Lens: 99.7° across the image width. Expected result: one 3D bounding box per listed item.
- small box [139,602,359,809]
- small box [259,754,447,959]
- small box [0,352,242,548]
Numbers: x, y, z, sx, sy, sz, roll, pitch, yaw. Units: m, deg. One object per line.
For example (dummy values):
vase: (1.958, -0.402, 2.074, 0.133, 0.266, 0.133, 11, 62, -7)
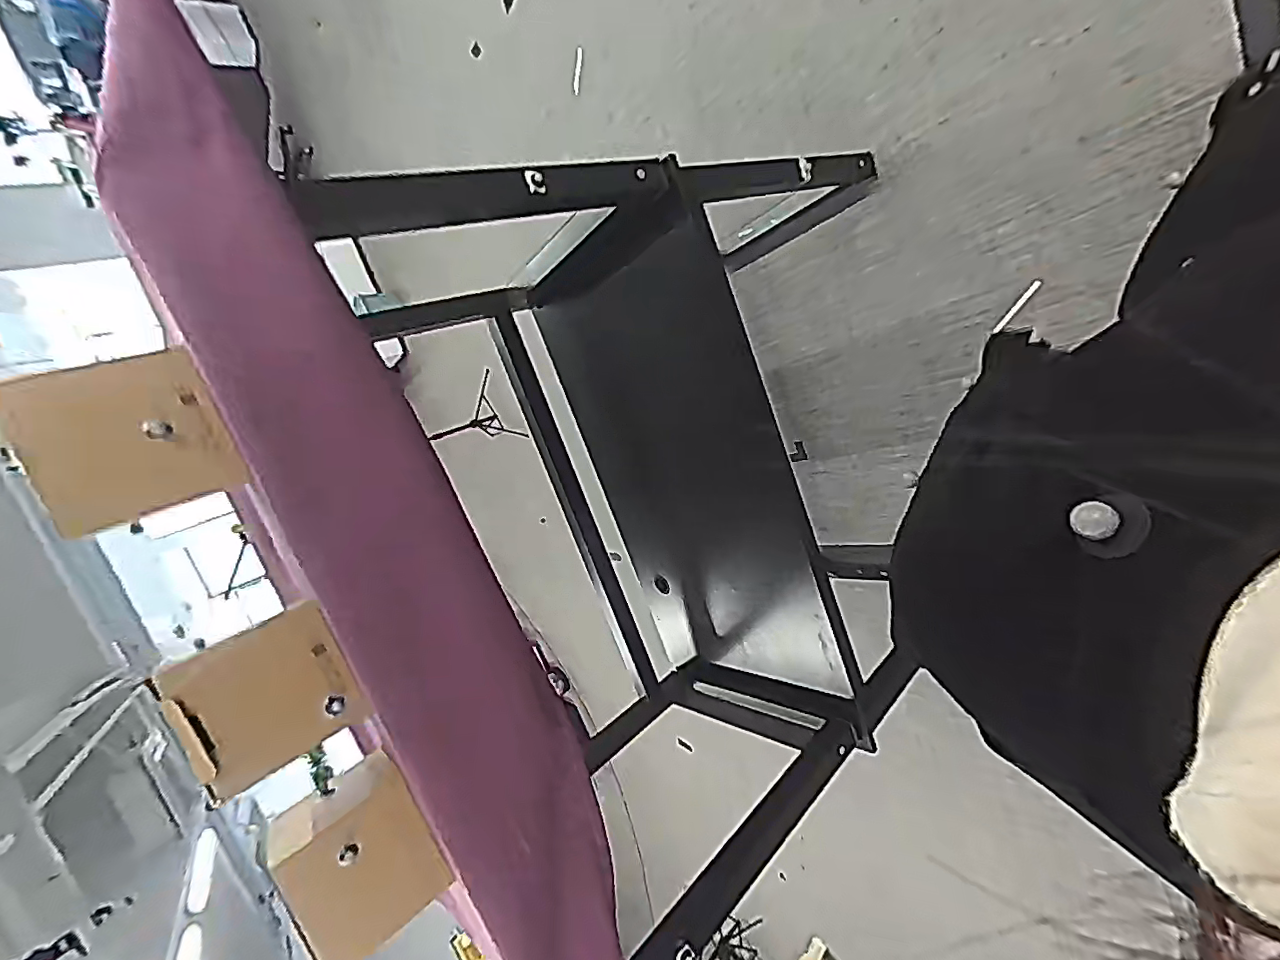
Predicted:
small box: (-0.486, 0.270, 0.697, 0.179, 0.176, 0.168, -17, 98, 55)
small box: (-0.399, 0.523, 0.754, 0.168, 0.176, 0.179, -15, 101, 55)
small box: (-0.596, -0.036, 0.632, 0.179, 0.176, 0.168, -3, 110, 53)
